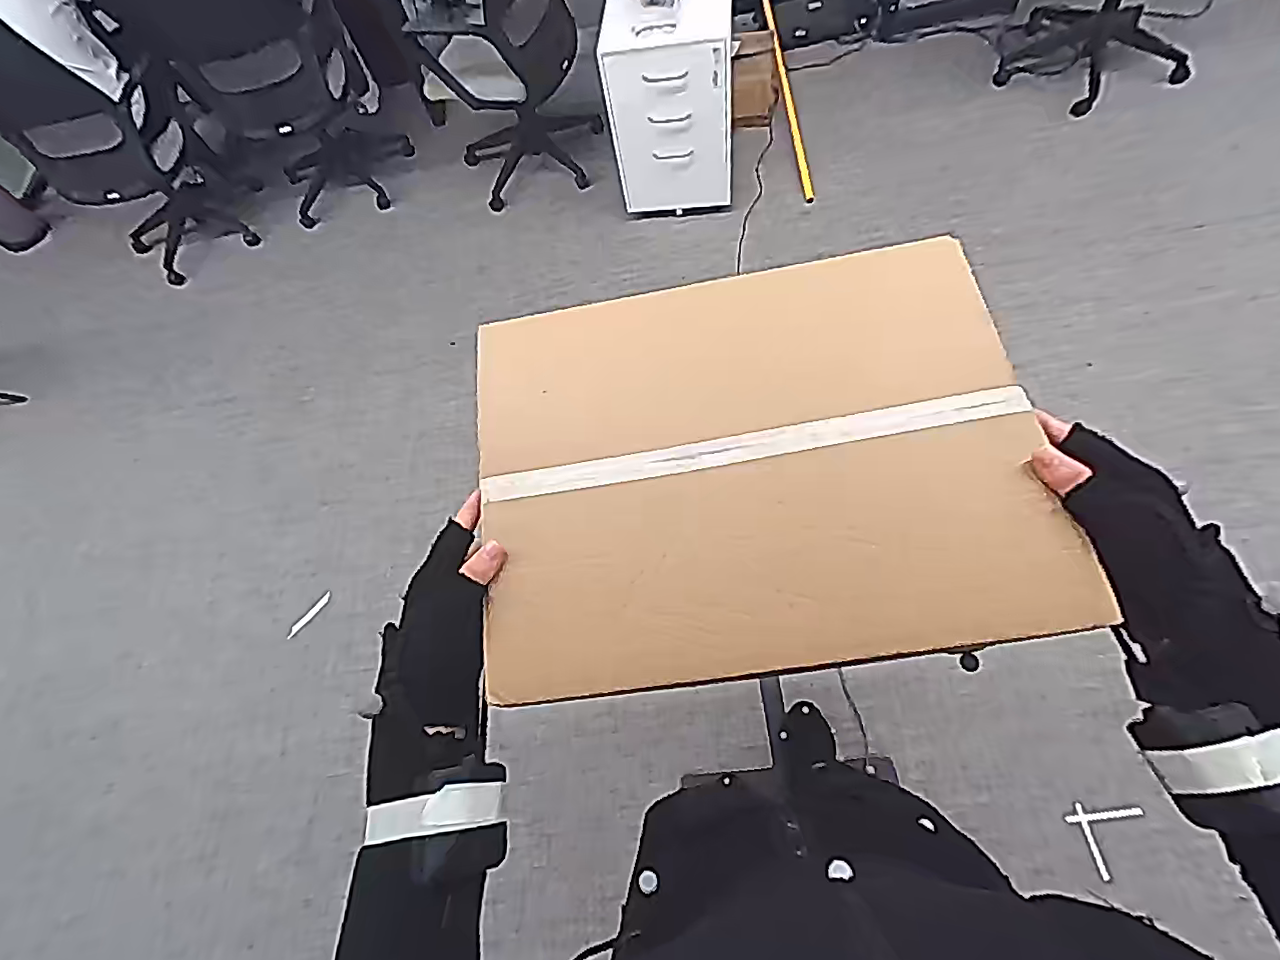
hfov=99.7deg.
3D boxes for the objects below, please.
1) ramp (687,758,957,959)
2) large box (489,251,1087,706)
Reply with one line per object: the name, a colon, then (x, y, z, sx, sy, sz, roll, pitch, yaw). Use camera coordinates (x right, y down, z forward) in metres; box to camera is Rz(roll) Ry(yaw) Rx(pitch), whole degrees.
ramp: (0.379, 1.080, 0.983, 0.509, 0.206, 0.991, -11, 63, 6)
large box: (0.101, 0.031, 0.556, 0.408, 0.320, 0.320, -10, 68, 5)
